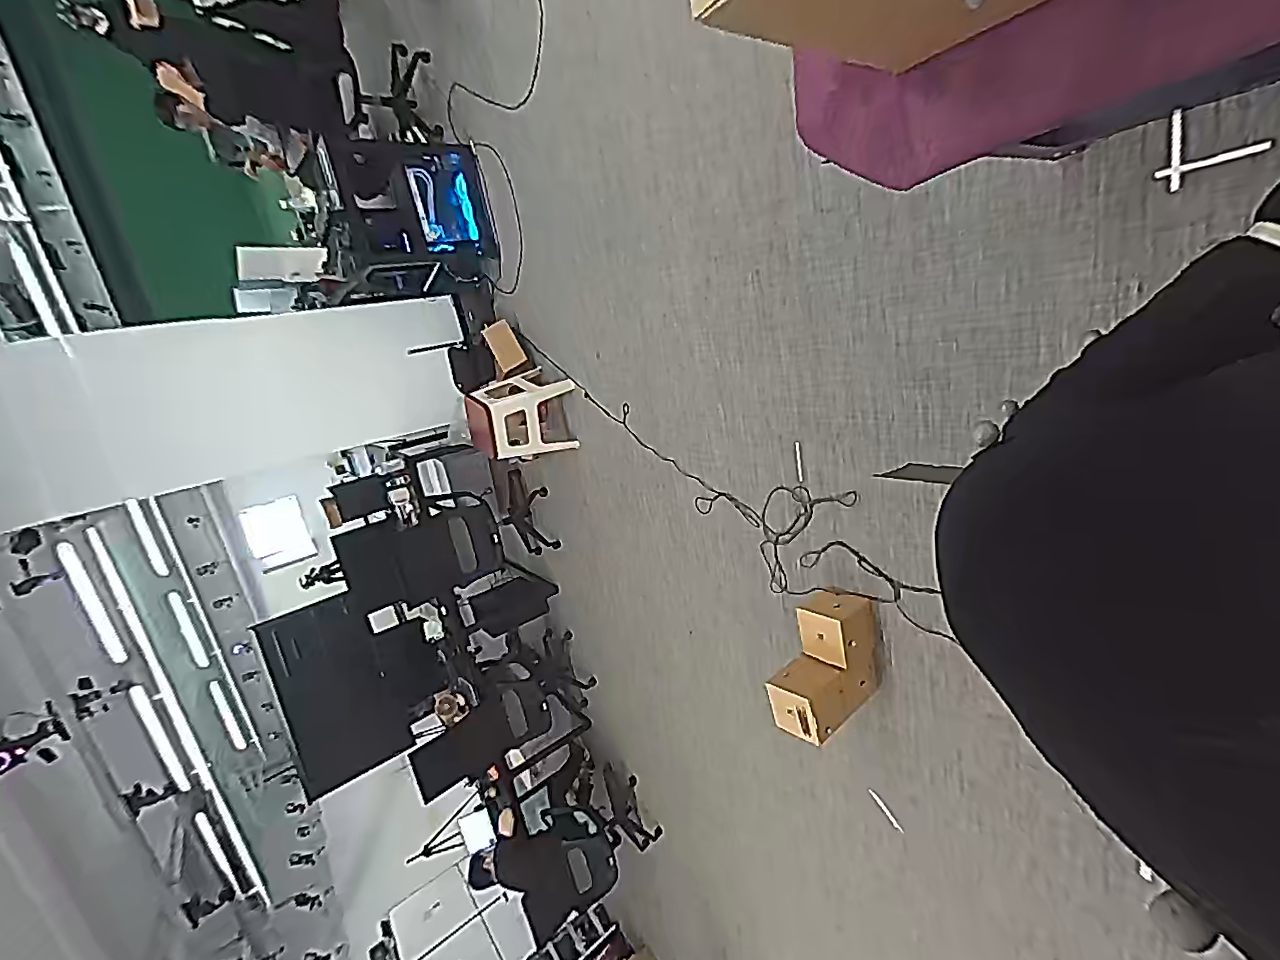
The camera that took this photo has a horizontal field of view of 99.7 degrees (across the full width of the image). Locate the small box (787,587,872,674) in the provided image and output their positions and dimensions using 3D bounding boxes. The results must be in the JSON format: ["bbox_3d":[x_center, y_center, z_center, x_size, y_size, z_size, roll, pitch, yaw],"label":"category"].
[{"bbox_3d":[0.599,0.477,1.714,0.179,0.176,0.168,32,119,30],"label":"small box"}]
